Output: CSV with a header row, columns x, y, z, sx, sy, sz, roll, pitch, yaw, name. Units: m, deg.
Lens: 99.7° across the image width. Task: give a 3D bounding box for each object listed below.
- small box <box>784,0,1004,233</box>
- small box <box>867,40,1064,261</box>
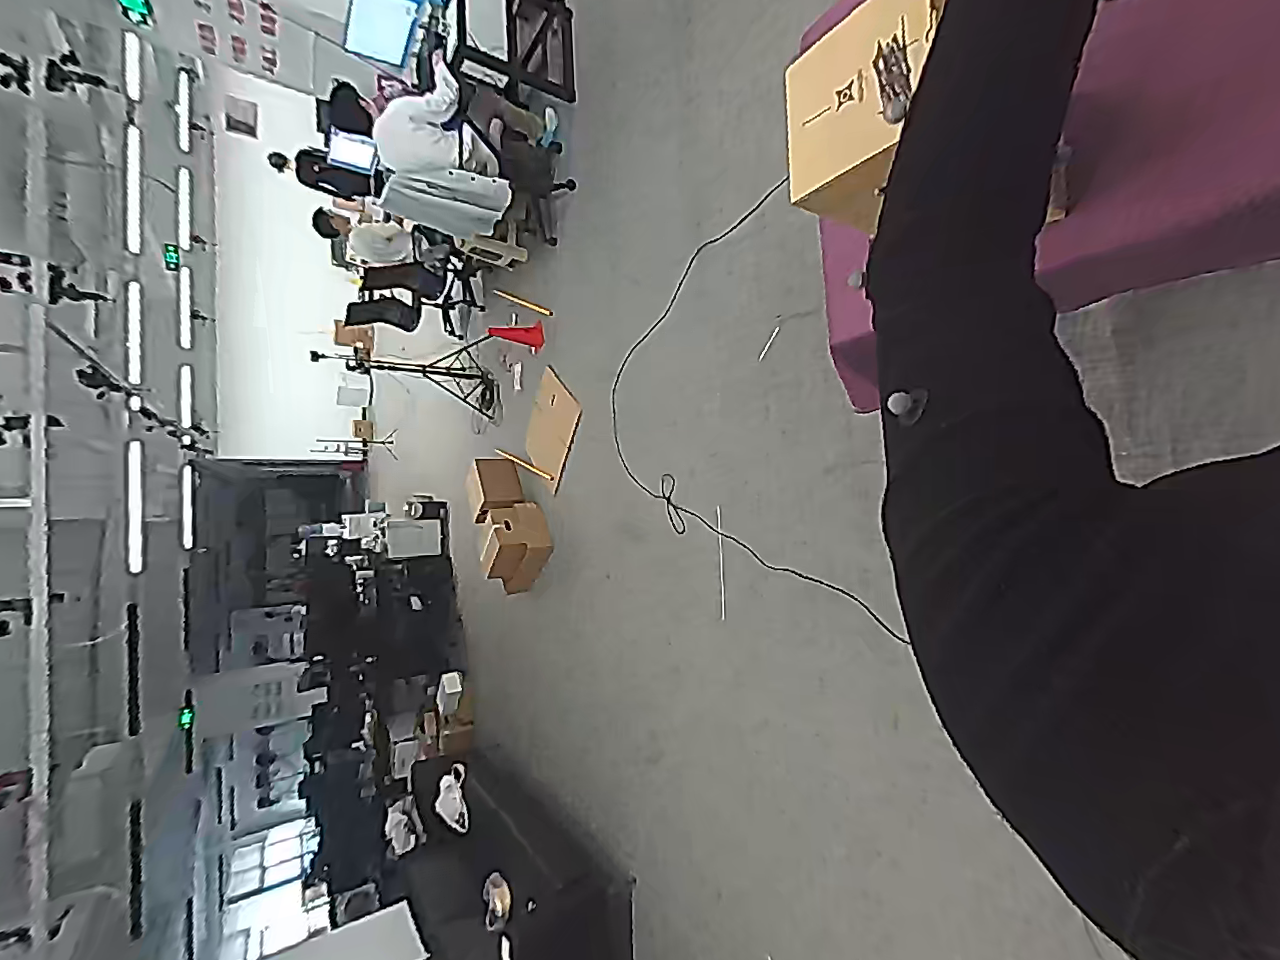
x,y,z,sx,sy,sz,roll,pitch,yaw,name
0.293,-0.414,0.624,0.179,0.176,0.168,-5,87,56,small box
0.427,-0.413,0.720,0.179,0.176,0.168,-4,88,55,small box
